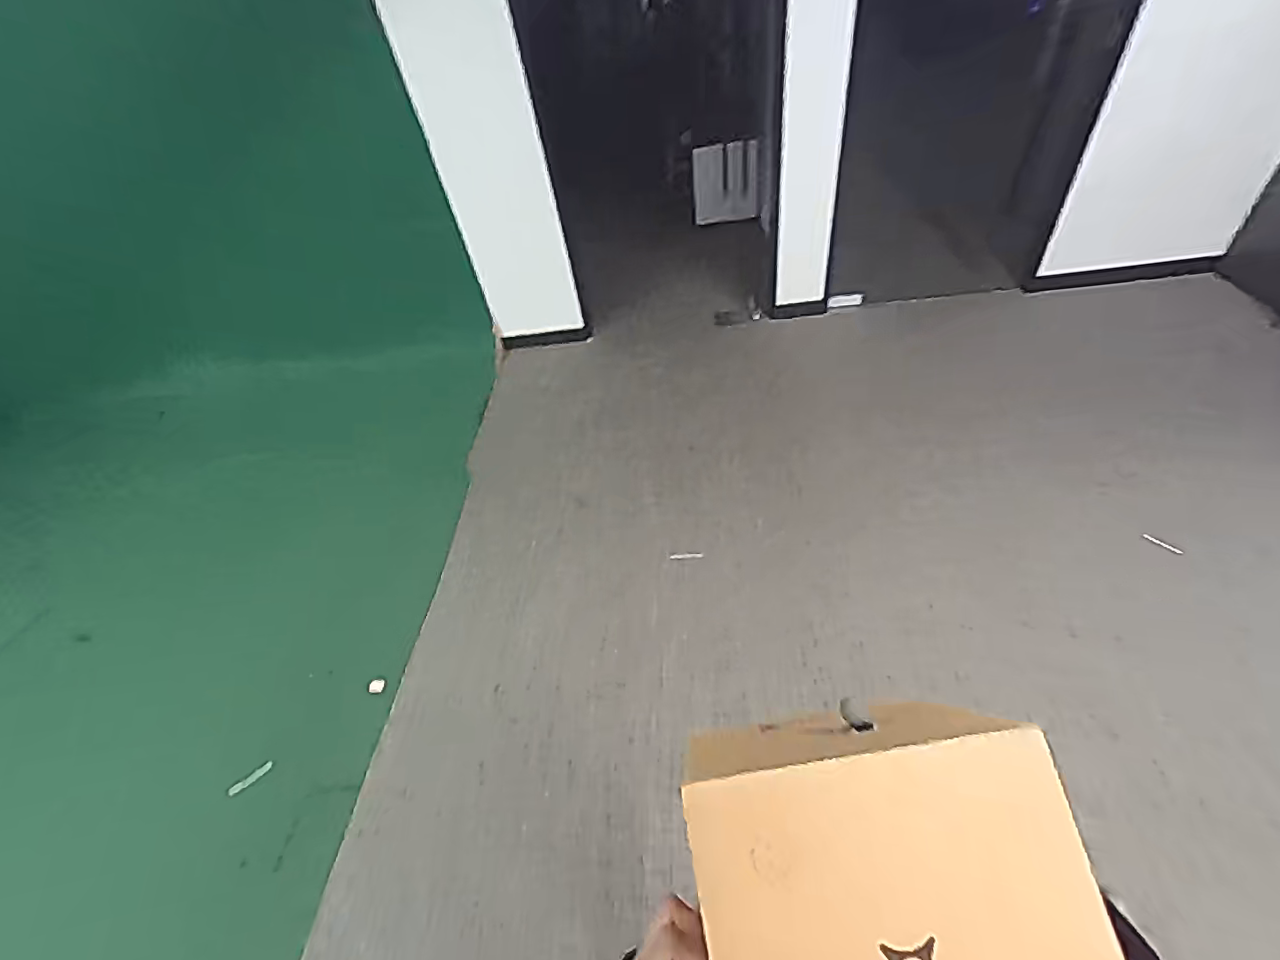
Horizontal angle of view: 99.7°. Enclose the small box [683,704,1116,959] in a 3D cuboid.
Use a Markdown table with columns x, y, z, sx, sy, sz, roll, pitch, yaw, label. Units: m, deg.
| x | y | z | sx | sy | sz | roll | pitch | yaw | label |
| --- | --- | --- | --- | --- | --- | --- | --- | --- | --- |
| 0.118 | 0.232 | 0.298 | 0.168 | 0.176 | 0.179 | -11 | 75 | 1 | small box |
